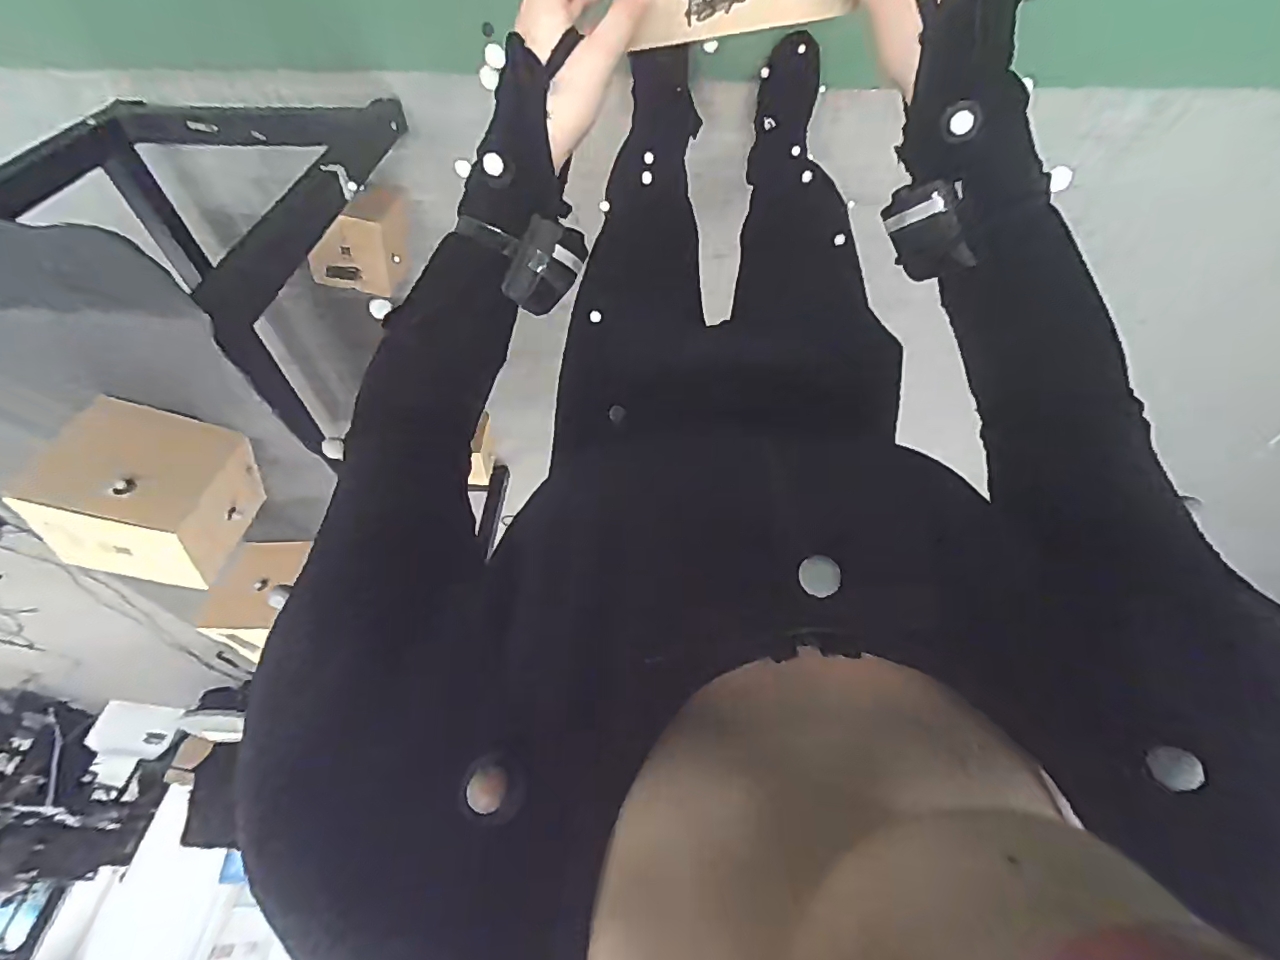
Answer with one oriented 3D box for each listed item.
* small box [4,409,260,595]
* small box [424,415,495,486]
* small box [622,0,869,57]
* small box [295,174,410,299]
[{"bbox_3d":[-0.644,0.030,0.723,0.179,0.176,0.168,16,140,-14],"label":"small box"},{"bbox_3d":[-0.572,-0.099,1.743,0.179,0.176,0.168,4,142,-2],"label":"small box"},{"bbox_3d":[0.063,-0.420,0.354,0.168,0.176,0.179,-4,144,6],"label":"small box"},{"bbox_3d":[-0.617,-0.534,1.188,0.168,0.176,0.179,9,140,-9],"label":"small box"}]
